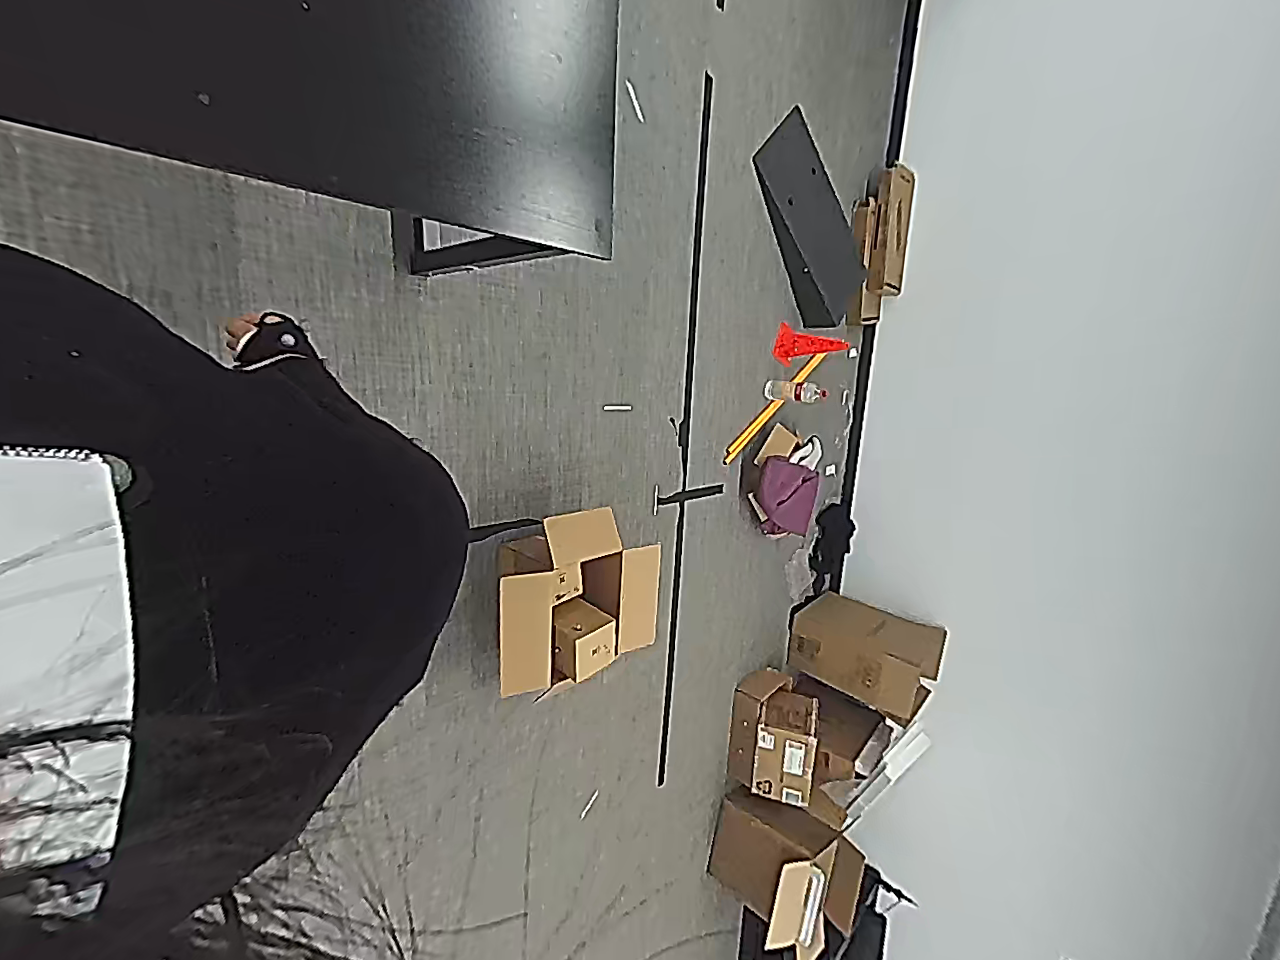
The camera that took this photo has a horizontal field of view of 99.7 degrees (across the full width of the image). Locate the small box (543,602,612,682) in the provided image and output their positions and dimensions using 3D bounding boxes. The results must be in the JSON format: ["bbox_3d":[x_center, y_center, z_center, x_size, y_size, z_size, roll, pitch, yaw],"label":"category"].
[{"bbox_3d":[-0.214,0.541,1.829,0.179,0.176,0.168,-17,117,-44],"label":"small box"}]
